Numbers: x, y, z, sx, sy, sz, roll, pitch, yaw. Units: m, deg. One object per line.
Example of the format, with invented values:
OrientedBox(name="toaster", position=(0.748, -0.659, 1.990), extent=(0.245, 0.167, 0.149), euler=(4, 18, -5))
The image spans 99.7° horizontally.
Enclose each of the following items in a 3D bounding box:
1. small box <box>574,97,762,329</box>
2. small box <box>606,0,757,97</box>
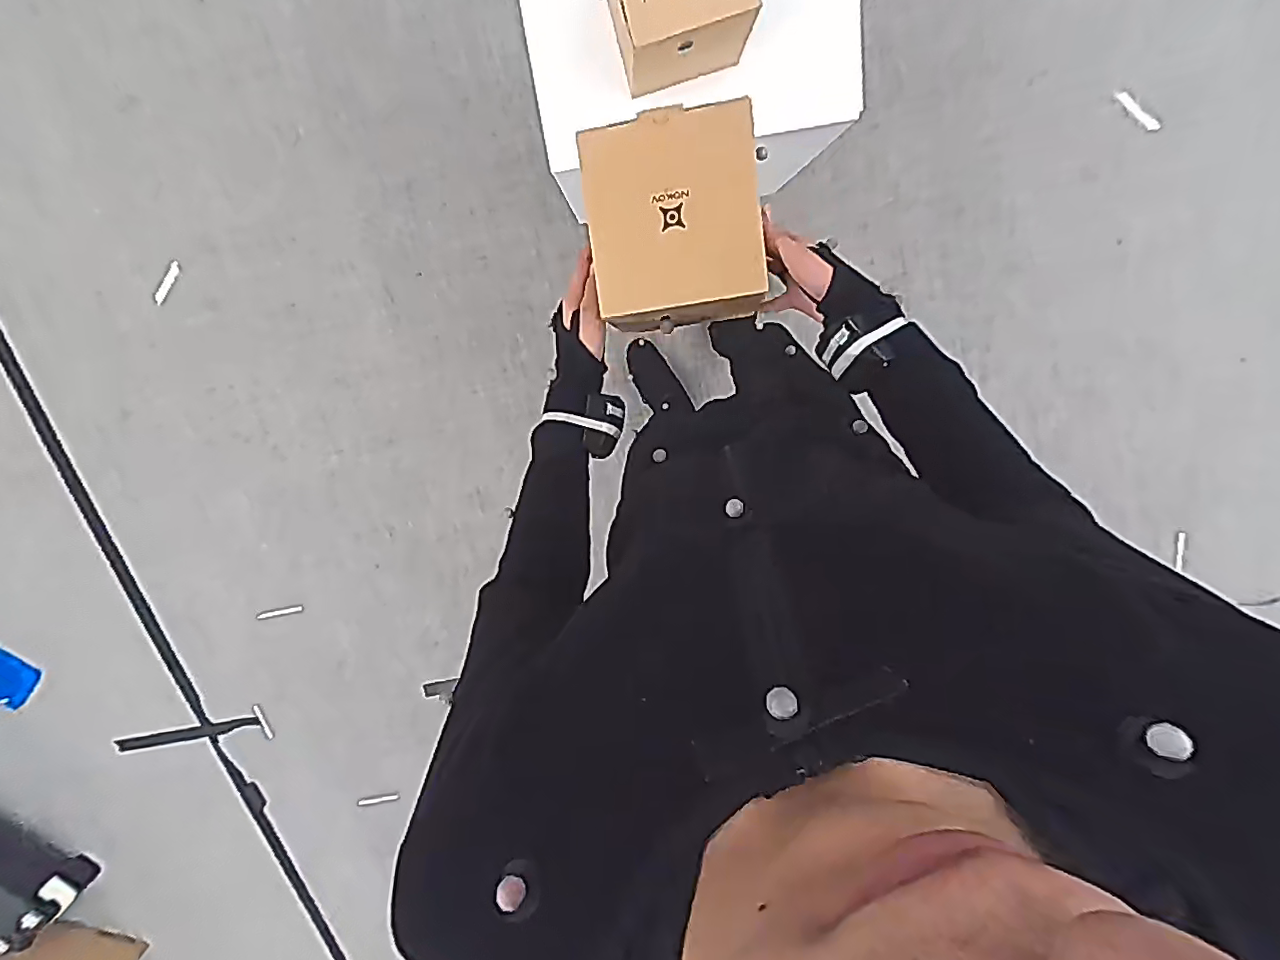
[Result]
OrientedBox(name="small box", position=(0.037, -0.267, 0.590), extent=(0.168, 0.176, 0.179), euler=(-7, 97, 7))
OrientedBox(name="small box", position=(0.046, -0.675, 0.754), extent=(0.179, 0.176, 0.168), euler=(-16, 106, 3))
